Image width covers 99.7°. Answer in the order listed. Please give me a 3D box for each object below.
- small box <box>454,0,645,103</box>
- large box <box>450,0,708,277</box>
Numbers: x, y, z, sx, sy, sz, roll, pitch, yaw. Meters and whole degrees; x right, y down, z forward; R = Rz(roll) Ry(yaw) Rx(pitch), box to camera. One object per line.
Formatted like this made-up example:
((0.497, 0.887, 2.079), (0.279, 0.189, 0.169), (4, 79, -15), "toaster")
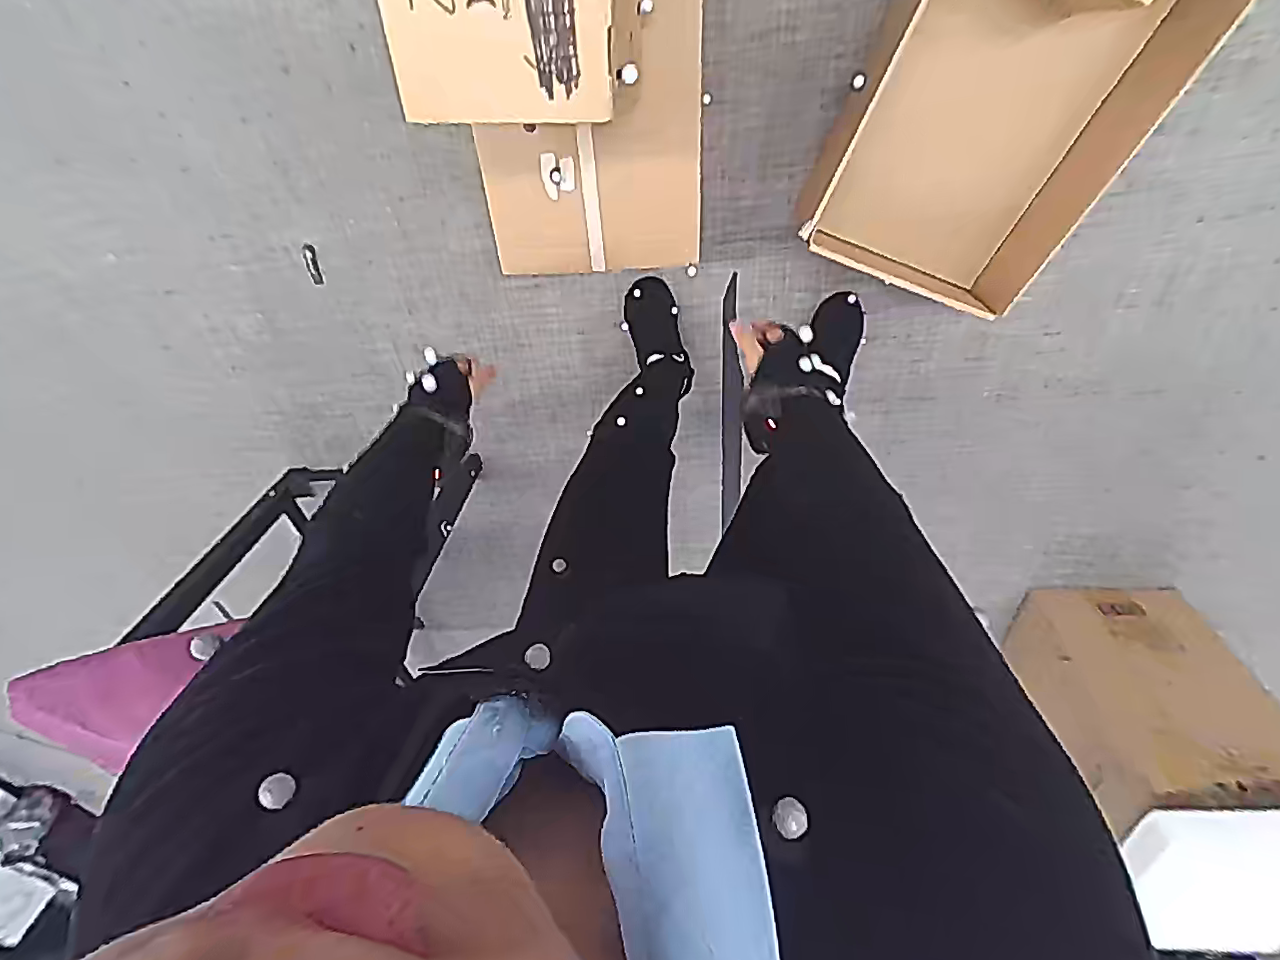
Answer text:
((-0.088, -0.508, 0.578), (0.179, 0.176, 0.168), (2, 129, 3), "small box")
((-0.057, -0.575, 0.837), (0.320, 0.320, 0.408), (0, 129, 6), "large box")
